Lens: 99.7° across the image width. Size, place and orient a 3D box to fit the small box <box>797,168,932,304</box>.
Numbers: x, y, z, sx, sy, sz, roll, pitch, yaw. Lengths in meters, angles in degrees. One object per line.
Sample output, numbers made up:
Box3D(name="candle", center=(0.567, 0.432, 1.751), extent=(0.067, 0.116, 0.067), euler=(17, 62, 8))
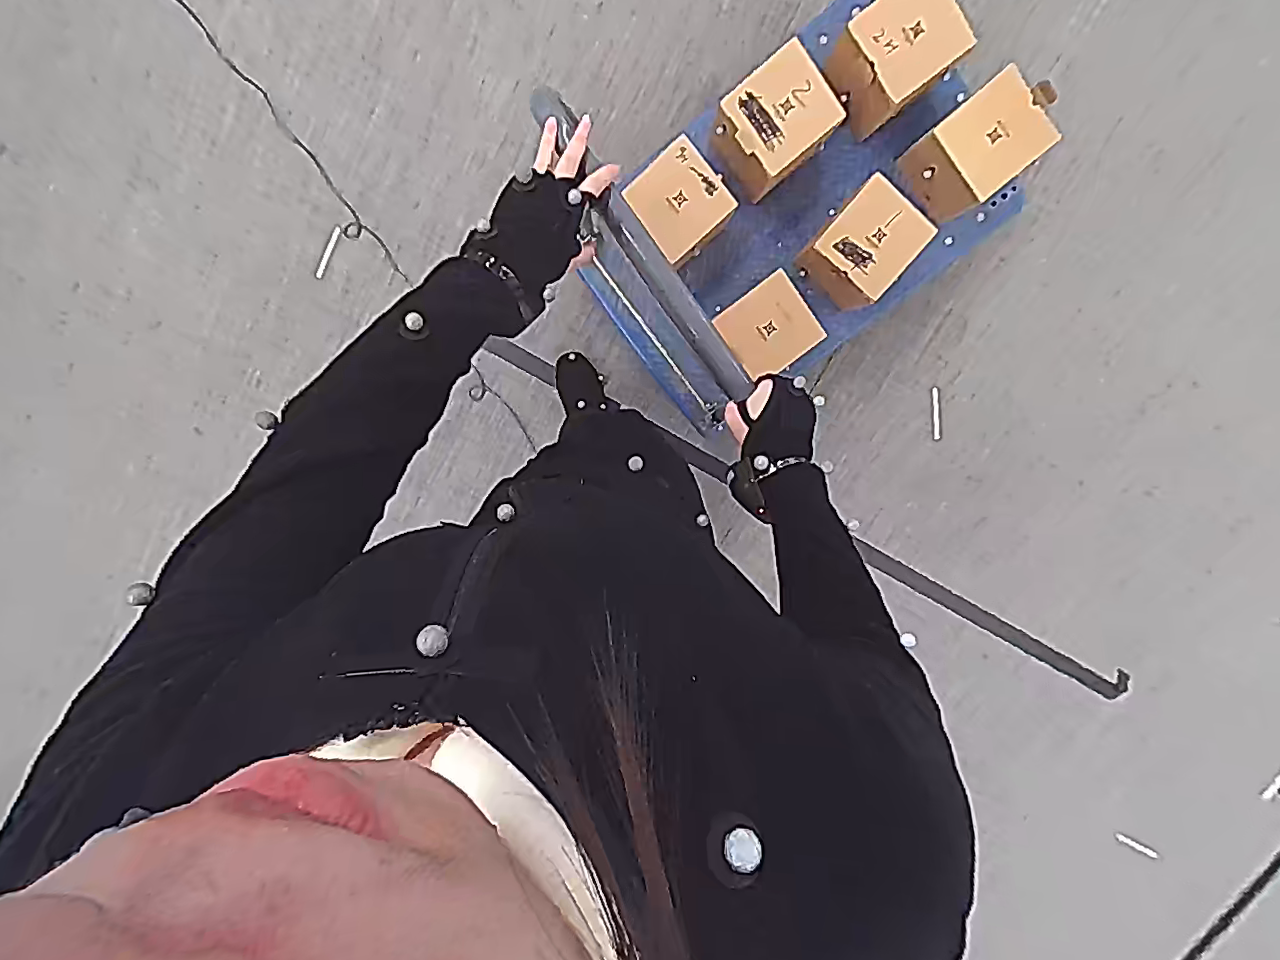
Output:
Box3D(name="small box", center=(0.447, -0.488, 1.116), extent=(0.168, 0.176, 0.179), euler=(40, 99, -7))

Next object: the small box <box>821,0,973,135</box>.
Box3D(name="small box", center=(0.484, -0.822, 1.046), extent=(0.179, 0.176, 0.168), euler=(-35, 99, 8))

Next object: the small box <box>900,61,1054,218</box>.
Box3D(name="small box", center=(0.653, -0.662, 1.079), extent=(0.179, 0.176, 0.168), euler=(-39, 98, 8))

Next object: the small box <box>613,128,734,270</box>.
Box3D(name="small box", center=(0.066, -0.556, 1.102), extent=(0.179, 0.176, 0.168), euler=(-40, 100, 8))

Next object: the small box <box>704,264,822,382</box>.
Box3D(name="small box", center=(0.249, -0.326, 1.153), extent=(0.179, 0.176, 0.168), euler=(-36, 100, 7))
